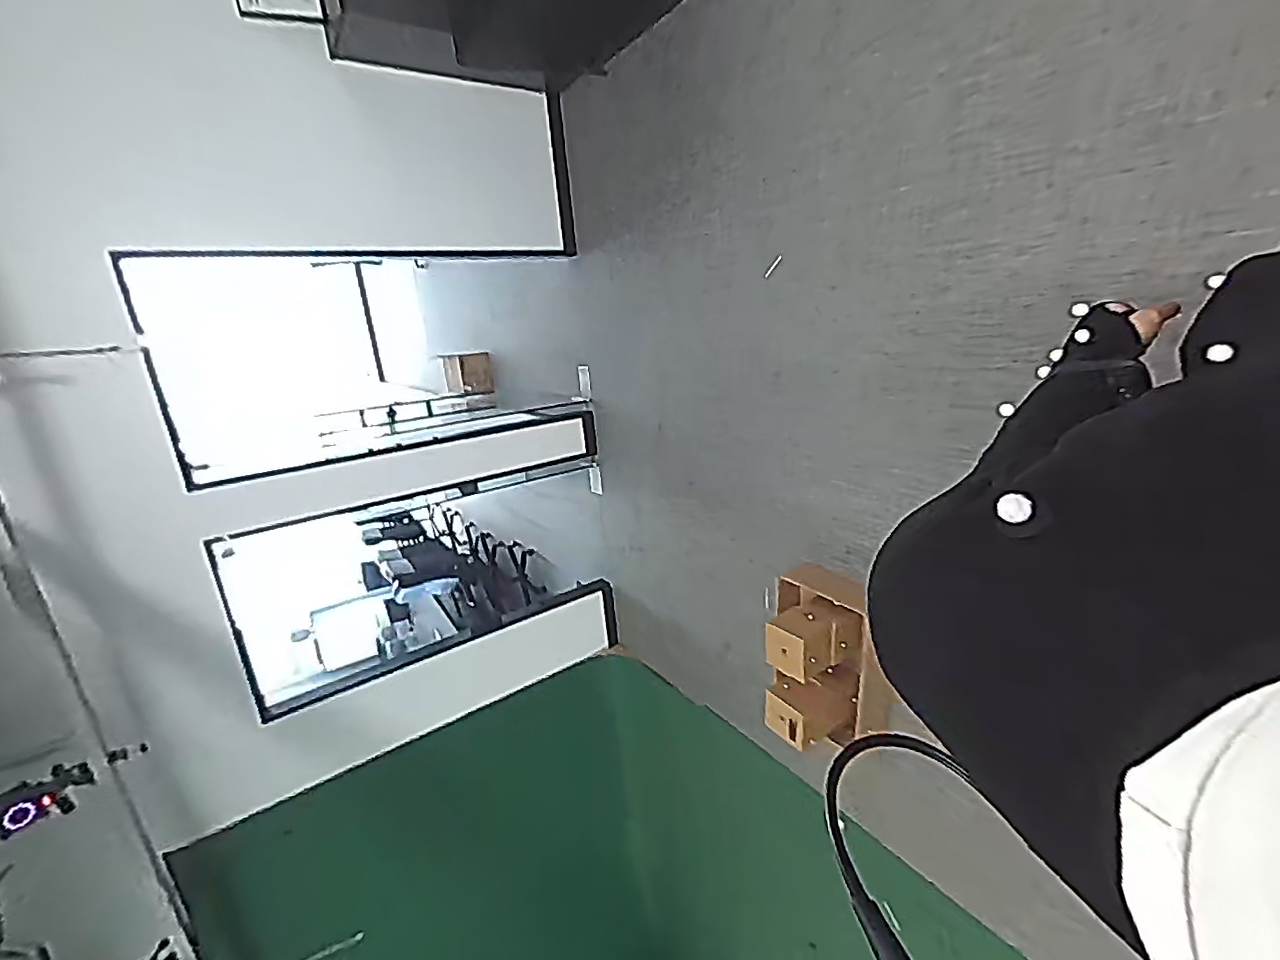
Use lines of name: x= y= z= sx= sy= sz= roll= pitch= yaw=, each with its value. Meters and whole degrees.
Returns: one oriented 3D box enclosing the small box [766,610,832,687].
small box: x=0.570 y=0.595 z=1.935 sx=0.168 sy=0.176 sz=0.179 roll=17 pitch=117 yaw=52
